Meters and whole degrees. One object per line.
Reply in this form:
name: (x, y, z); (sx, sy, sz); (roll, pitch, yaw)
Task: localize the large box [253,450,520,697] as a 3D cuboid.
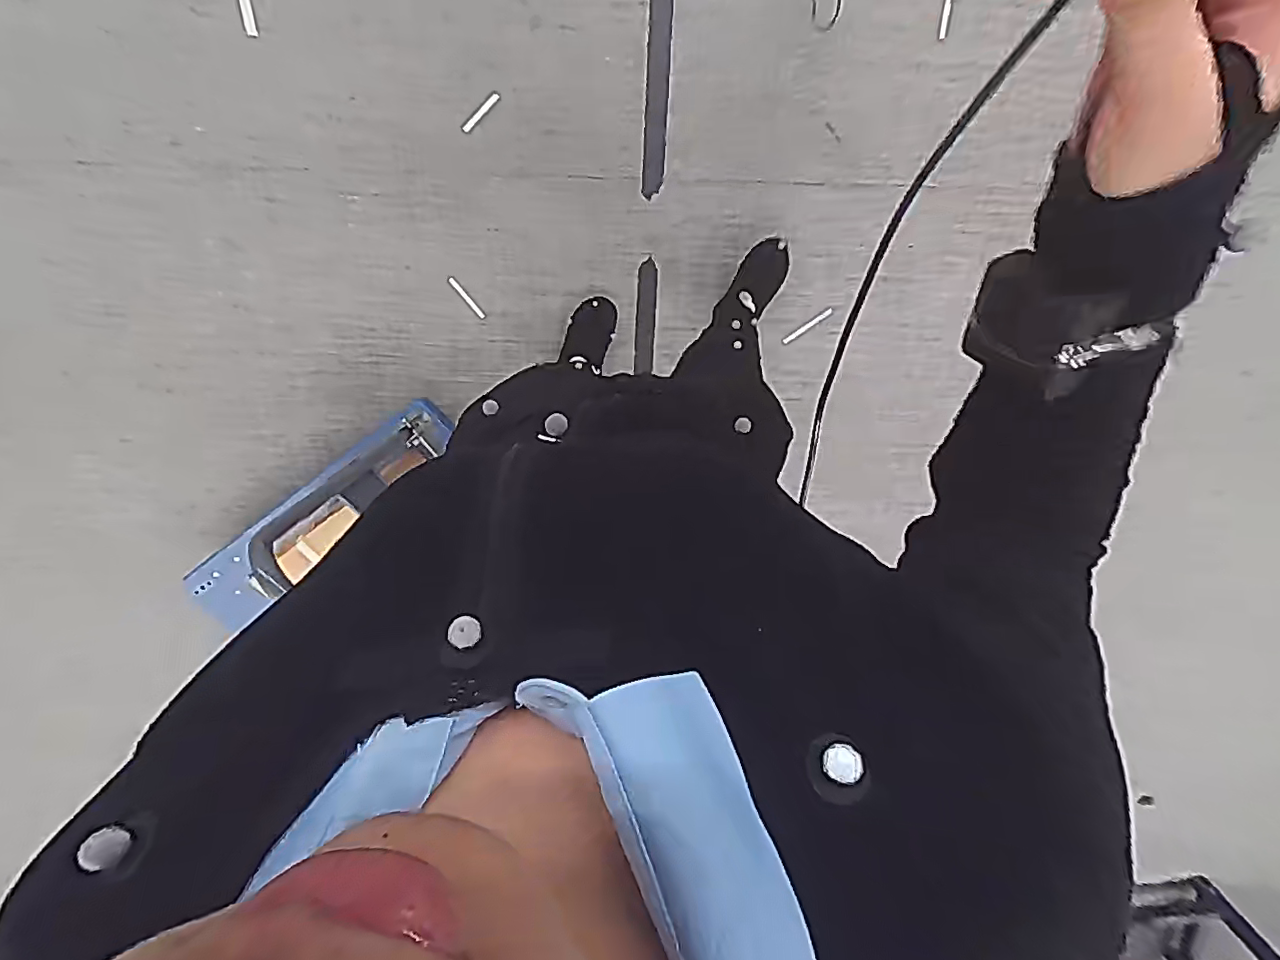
large box: (-0.548, 0.205, 1.258); (0.320, 0.320, 0.408); (-34, 108, 11)
